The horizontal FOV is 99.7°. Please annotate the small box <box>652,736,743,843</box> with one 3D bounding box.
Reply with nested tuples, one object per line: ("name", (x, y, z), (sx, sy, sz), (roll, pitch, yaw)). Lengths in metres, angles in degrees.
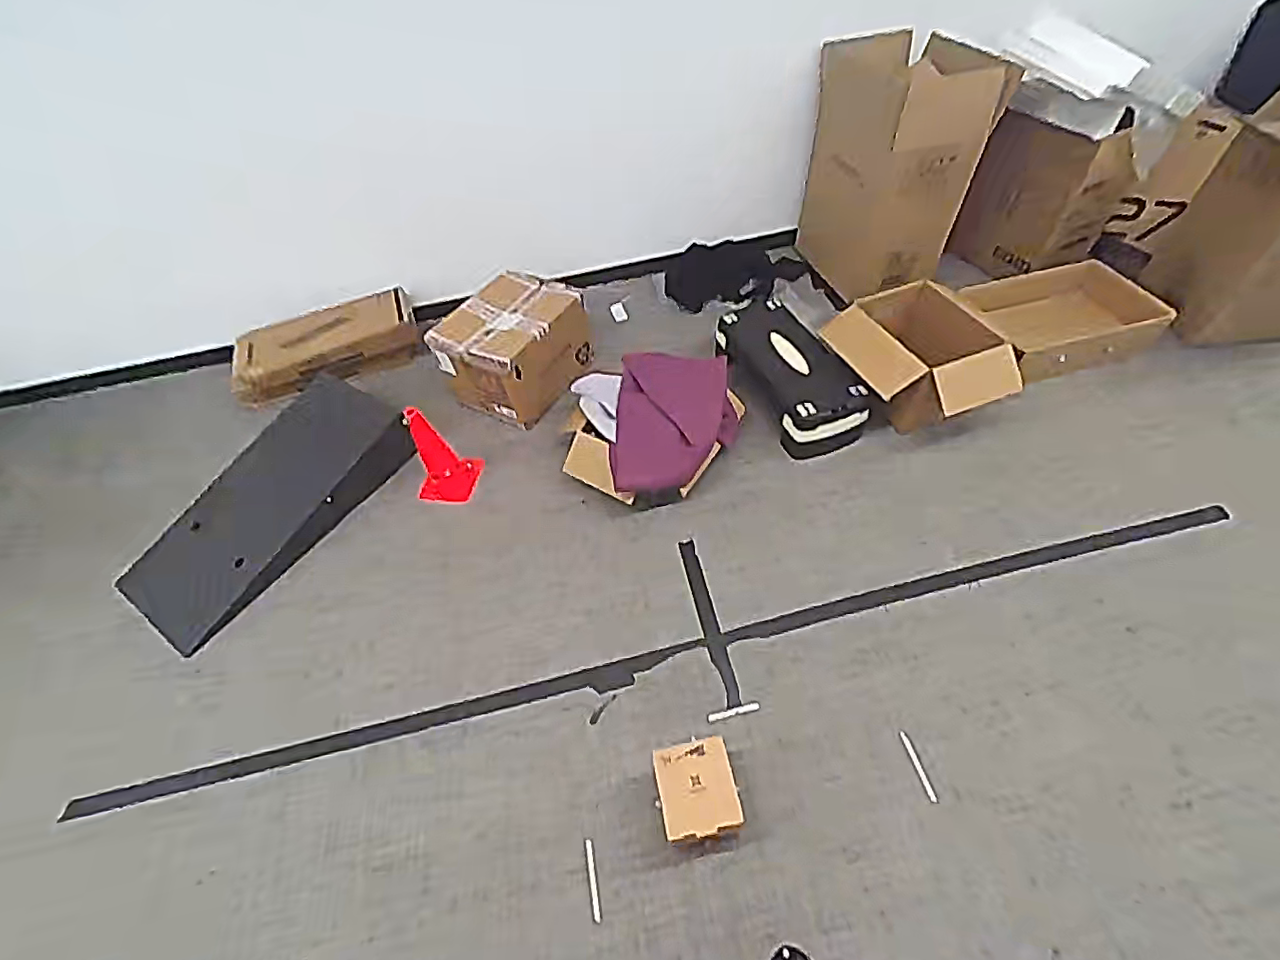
("small box", (0.128, 0.703, 1.221), (0.168, 0.176, 0.179), (-12, 52, -2))
